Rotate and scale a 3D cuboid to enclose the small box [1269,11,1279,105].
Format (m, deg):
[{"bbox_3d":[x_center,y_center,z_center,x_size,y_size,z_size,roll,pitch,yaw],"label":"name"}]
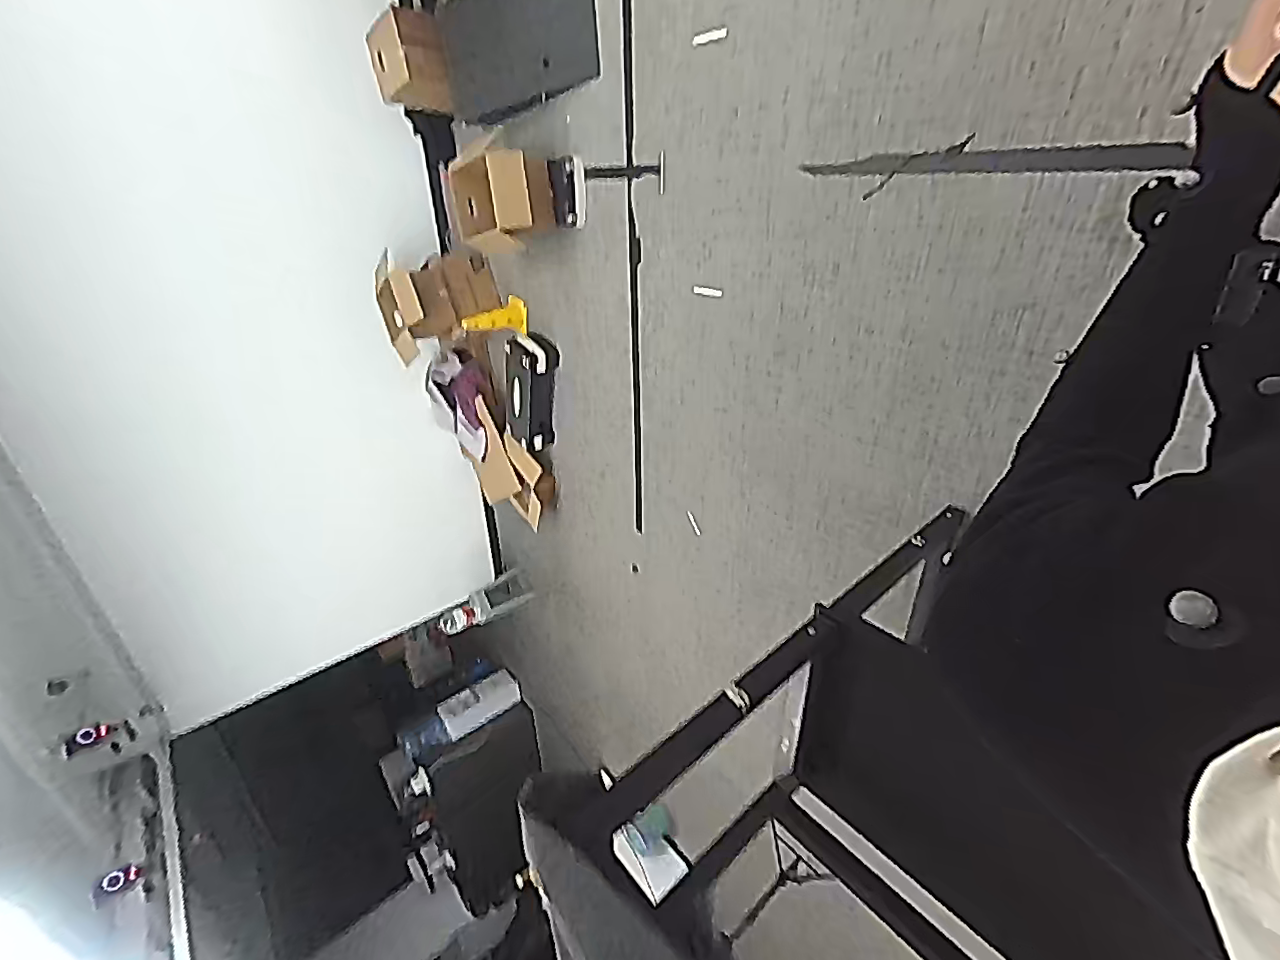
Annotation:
[{"bbox_3d":[0.600,-0.405,0.380,0.179,0.176,0.168,4,104,42],"label":"small box"}]
